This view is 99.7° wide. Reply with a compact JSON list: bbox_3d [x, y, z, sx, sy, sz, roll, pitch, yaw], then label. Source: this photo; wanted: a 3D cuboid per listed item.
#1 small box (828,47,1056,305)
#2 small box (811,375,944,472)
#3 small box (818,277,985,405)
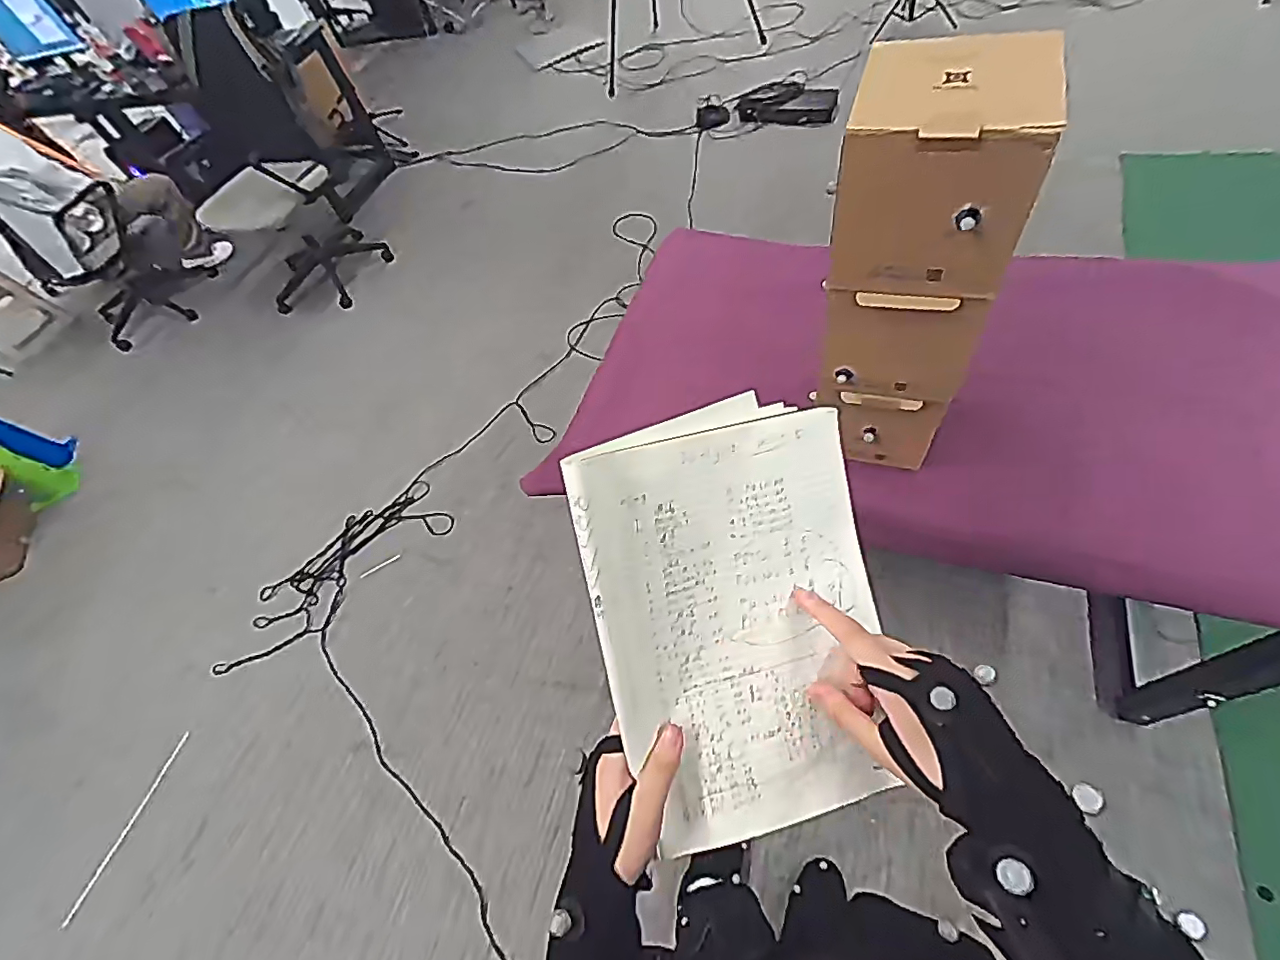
[{"bbox_3d":[0.296,-0.303,0.556,0.168,0.176,0.179,13,60,20],"label":"small box"},{"bbox_3d":[0.363,-0.134,0.829,0.168,0.176,0.179,12,61,20],"label":"small box"},{"bbox_3d":[0.329,-0.218,0.692,0.168,0.176,0.179,12,59,20],"label":"small box"}]
